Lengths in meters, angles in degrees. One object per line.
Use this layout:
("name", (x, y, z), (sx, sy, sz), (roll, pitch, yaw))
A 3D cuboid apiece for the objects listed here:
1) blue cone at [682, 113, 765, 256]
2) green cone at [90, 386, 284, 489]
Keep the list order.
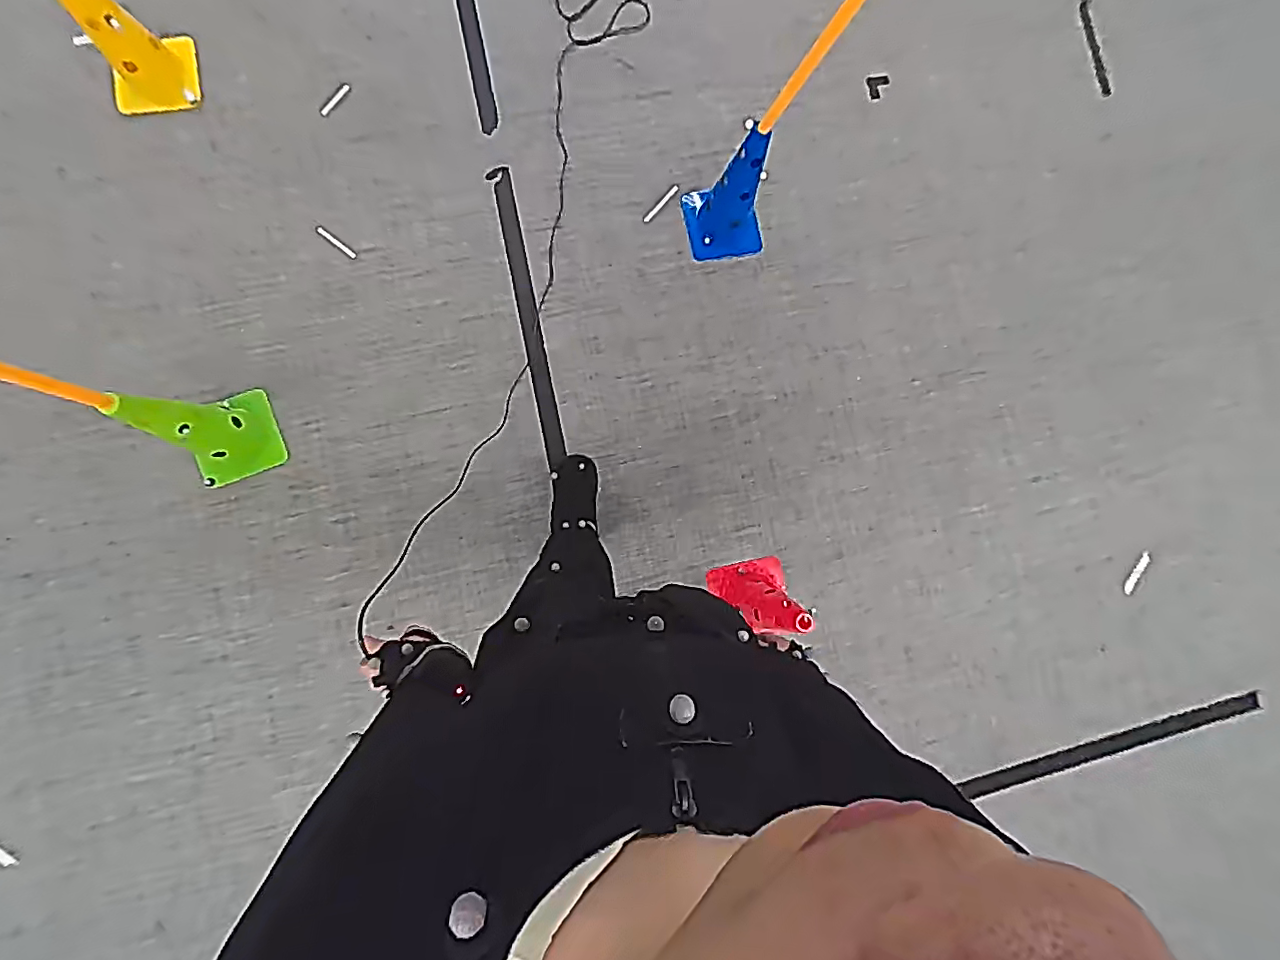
("blue cone", (0.236, -0.731, 1.327), (0.193, 0.380, 0.192), (-9, 84, -6))
("green cone", (-0.972, -0.122, 1.143), (0.200, 0.368, 0.202), (-23, 84, -7))
